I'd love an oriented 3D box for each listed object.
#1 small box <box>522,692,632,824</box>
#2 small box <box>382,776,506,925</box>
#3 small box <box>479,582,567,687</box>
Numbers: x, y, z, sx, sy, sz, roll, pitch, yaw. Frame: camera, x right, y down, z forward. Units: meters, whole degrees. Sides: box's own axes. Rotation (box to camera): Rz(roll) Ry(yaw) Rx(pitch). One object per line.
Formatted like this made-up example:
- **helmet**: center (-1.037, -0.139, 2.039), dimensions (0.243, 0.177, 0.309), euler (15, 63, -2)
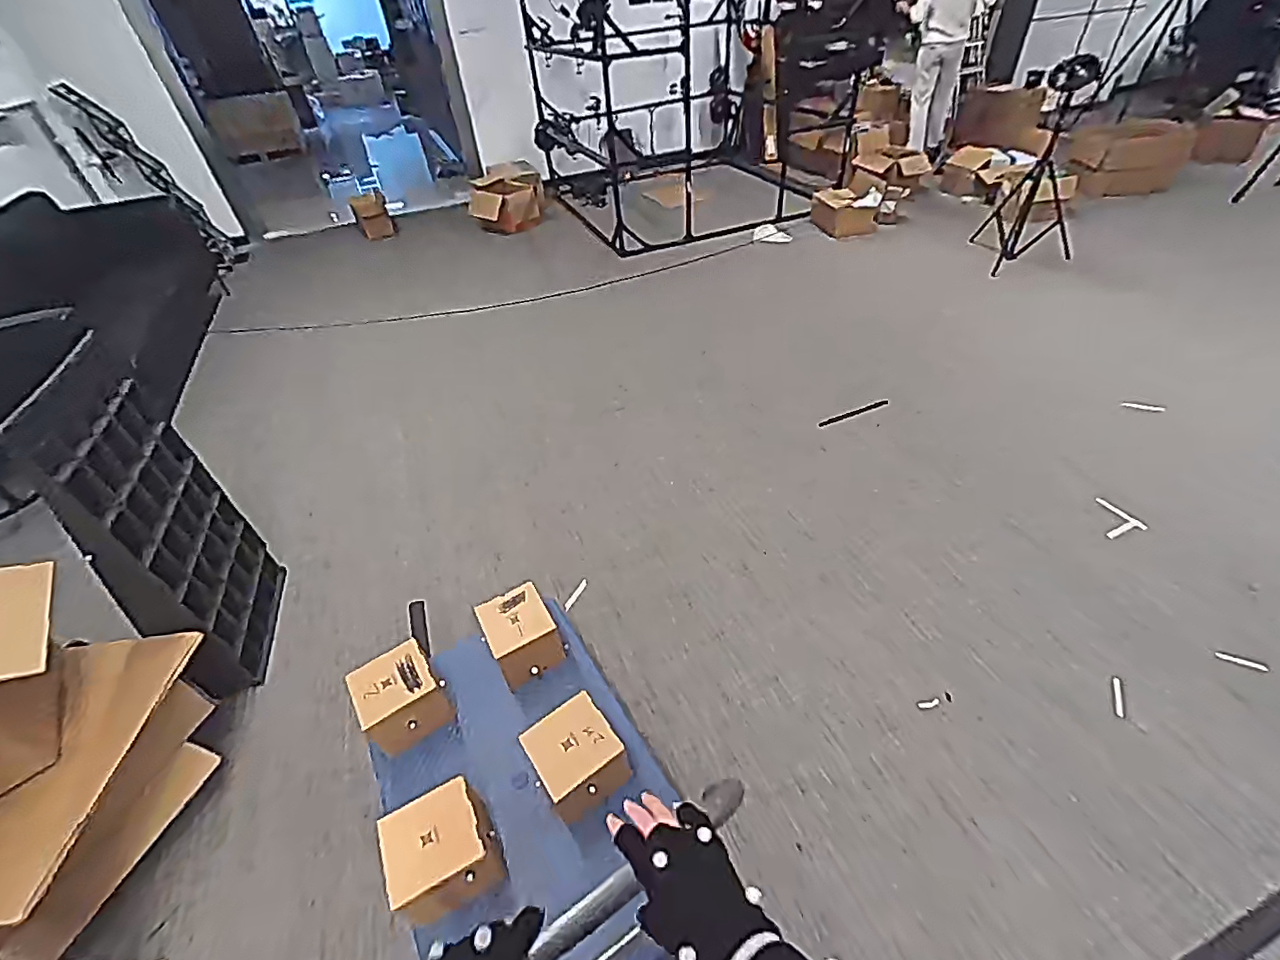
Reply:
- **small box**: center (-0.133, 0.619, 1.202), dimensions (0.179, 0.176, 0.168), euler (-28, 47, -23)
- **small box**: center (-0.391, 0.747, 1.089), dimensions (0.179, 0.176, 0.168), euler (-22, 44, -20)
- **small box**: center (-0.309, 0.414, 1.444), dimensions (0.168, 0.176, 0.179), euler (-24, 47, -19)
